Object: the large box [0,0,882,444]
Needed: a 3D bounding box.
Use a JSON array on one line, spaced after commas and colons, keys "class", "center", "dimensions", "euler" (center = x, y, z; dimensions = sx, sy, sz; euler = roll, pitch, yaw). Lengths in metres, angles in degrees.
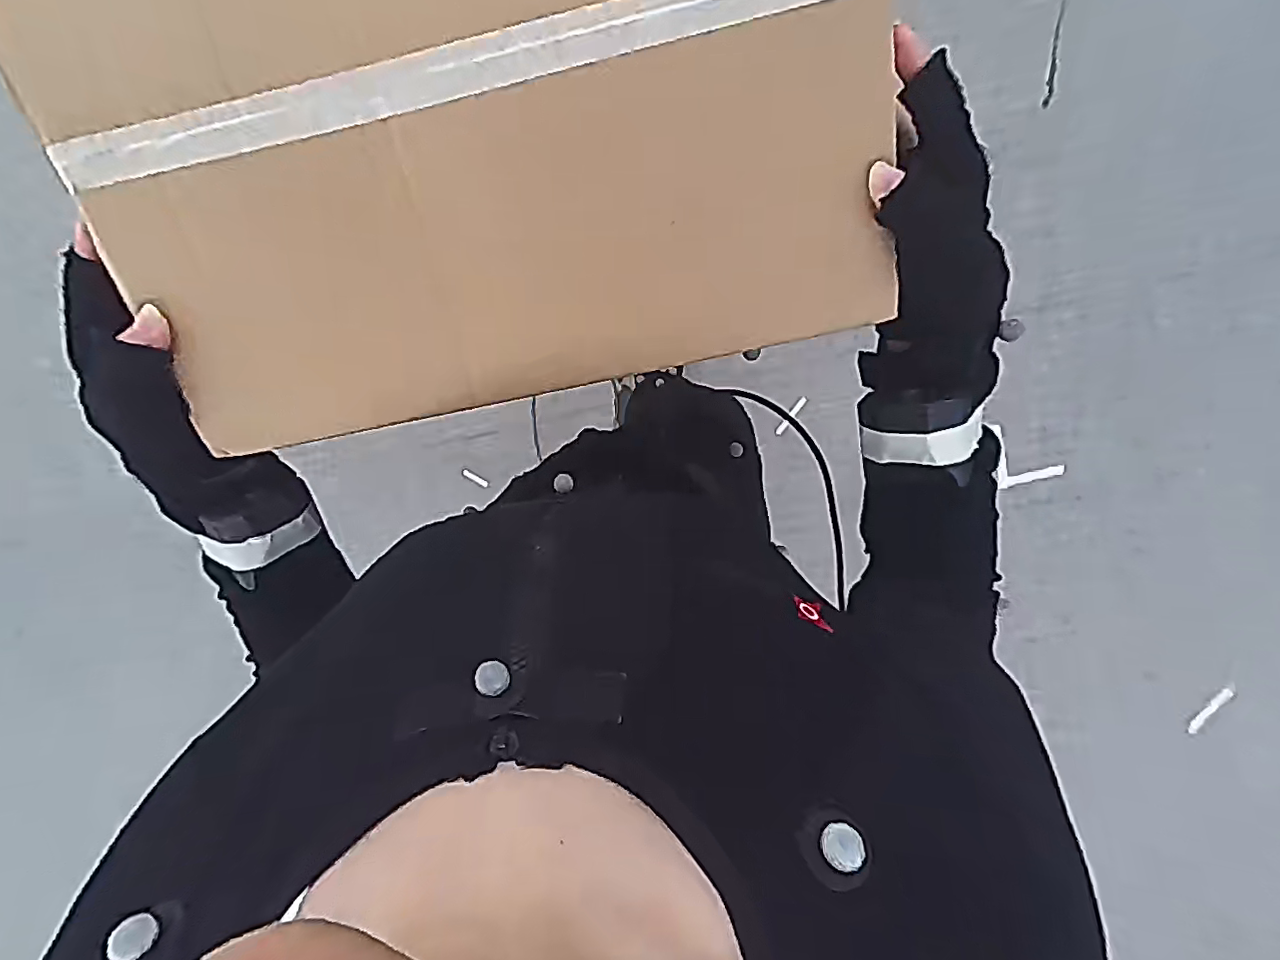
[{"class": "large box", "center": [-0.088, -0.257, 0.400], "dimensions": [0.408, 0.320, 0.320], "euler": [-11, 111, 5]}]
